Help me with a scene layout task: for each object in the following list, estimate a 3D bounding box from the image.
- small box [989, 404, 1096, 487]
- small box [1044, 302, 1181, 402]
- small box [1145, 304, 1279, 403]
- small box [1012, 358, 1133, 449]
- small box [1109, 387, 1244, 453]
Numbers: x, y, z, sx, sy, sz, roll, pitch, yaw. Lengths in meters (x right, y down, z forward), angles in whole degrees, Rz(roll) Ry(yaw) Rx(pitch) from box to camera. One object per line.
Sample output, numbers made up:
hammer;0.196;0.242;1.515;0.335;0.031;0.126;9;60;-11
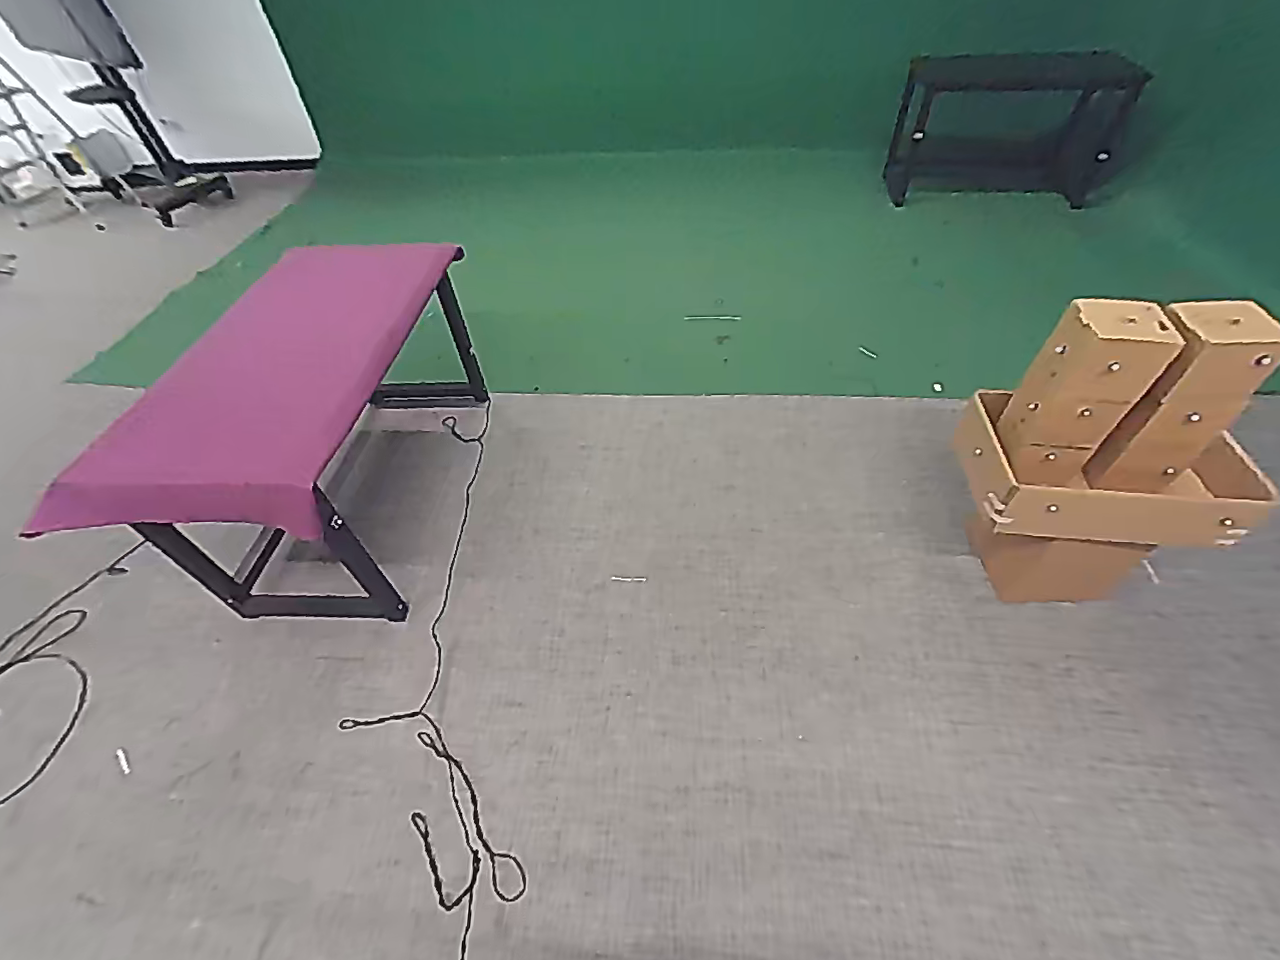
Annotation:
small box;1.126;-0.095;1.536;0.179;0.176;0.168;5;49;7
small box;1.101;-0.302;1.285;0.179;0.176;0.168;7;50;10
small box;1.321;-0.292;1.265;0.179;0.176;0.168;1;48;8
small box;1.109;-0.197;1.410;0.179;0.176;0.168;7;50;9
small box;1.349;-0.183;1.387;0.179;0.176;0.168;3;50;9
